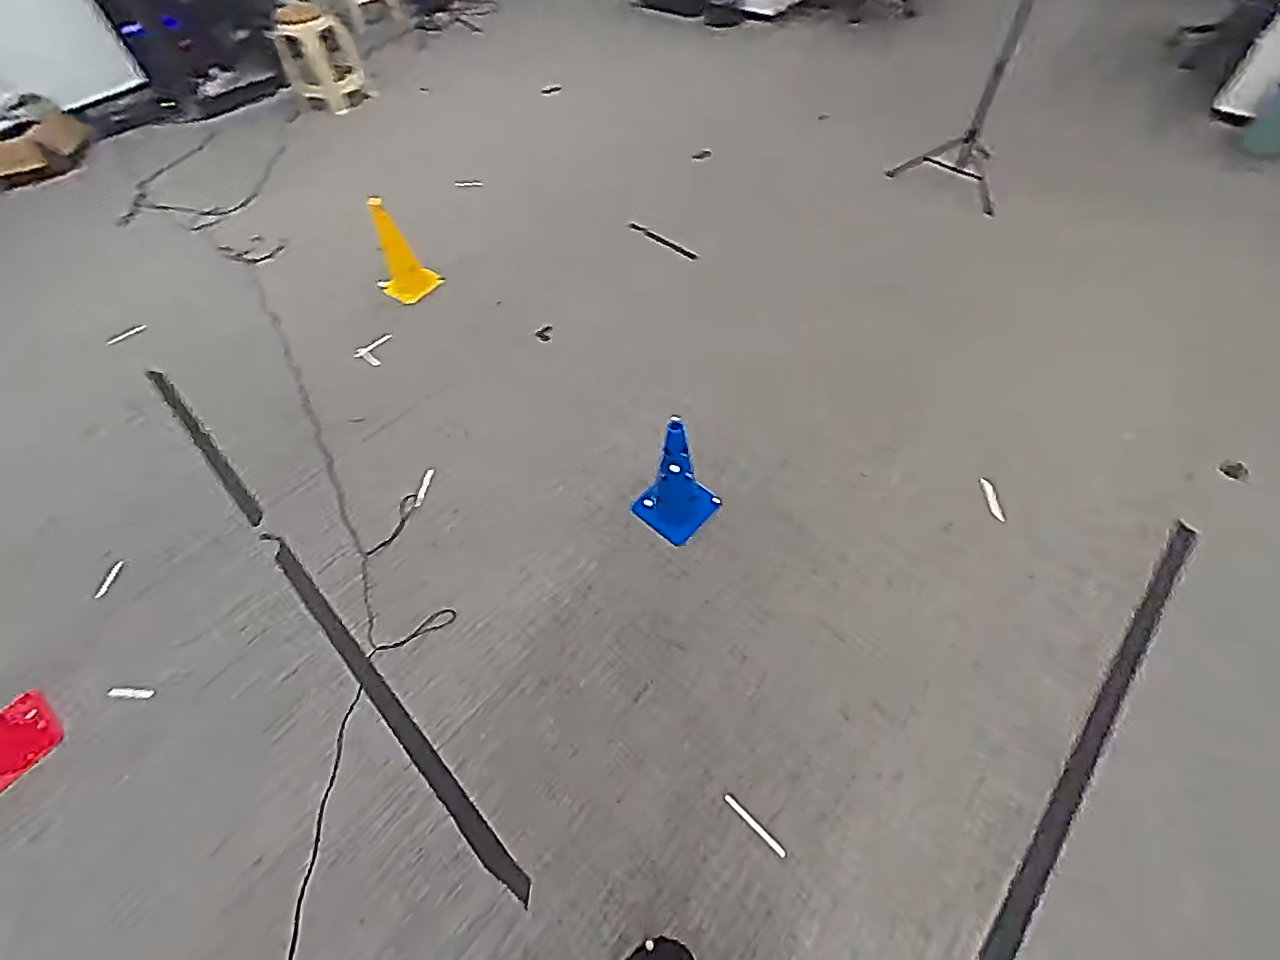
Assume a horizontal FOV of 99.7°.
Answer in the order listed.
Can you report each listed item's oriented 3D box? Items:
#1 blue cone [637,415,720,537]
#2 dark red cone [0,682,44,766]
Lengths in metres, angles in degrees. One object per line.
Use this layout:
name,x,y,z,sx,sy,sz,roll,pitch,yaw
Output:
blue cone,0.102,-0.028,1.439,0.193,0.380,0.192,38,64,26
dark red cone,-1.547,0.516,1.145,0.202,0.394,0.201,30,61,22
